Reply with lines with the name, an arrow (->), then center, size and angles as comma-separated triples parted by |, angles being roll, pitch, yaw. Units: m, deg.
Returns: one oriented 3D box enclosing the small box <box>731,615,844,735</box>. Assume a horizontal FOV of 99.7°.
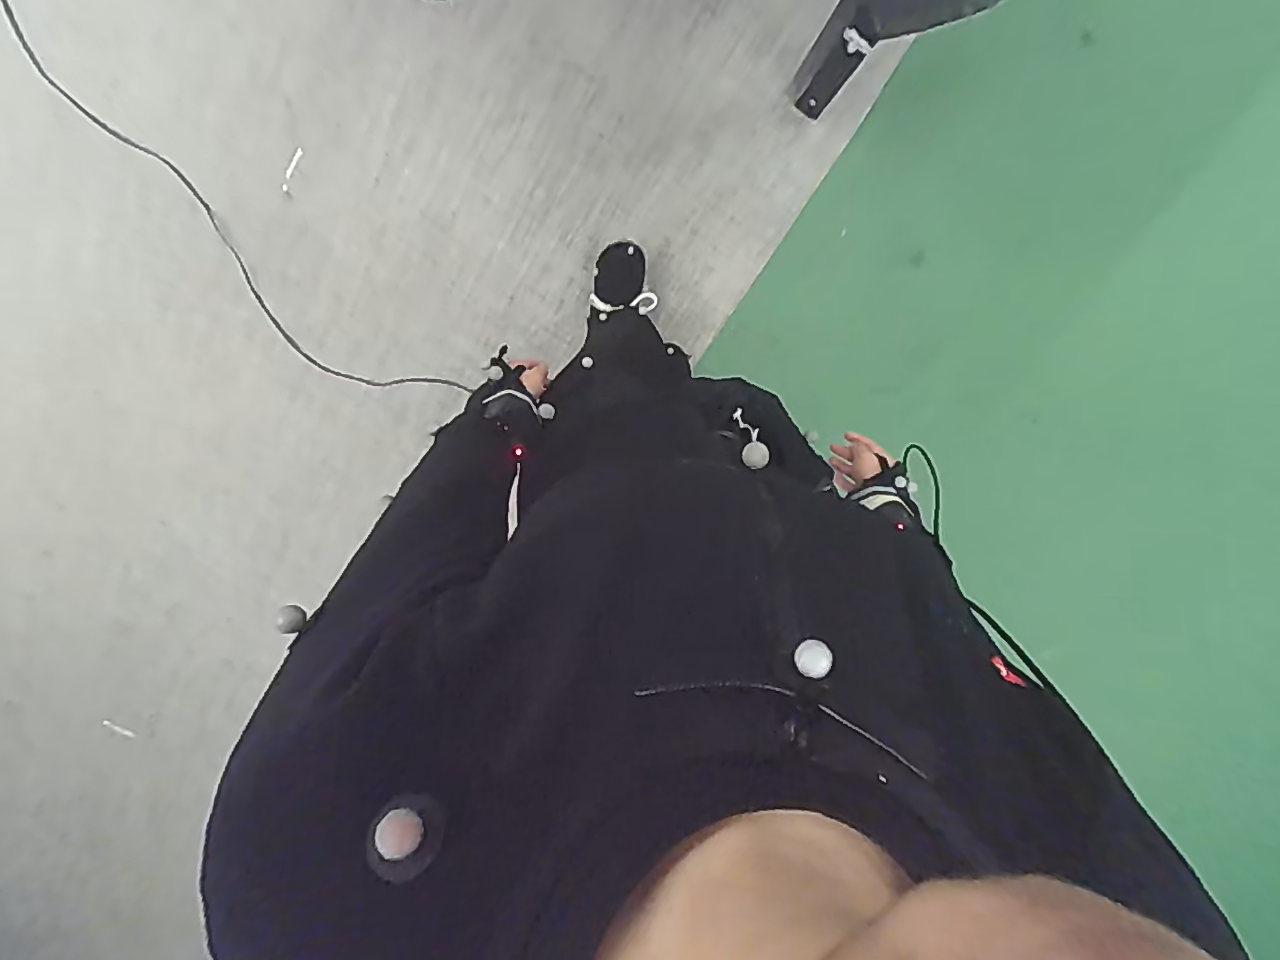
small box -> 0.330, 0.441, 1.256 | 0.179, 0.176, 0.168 | 29, 106, -8
